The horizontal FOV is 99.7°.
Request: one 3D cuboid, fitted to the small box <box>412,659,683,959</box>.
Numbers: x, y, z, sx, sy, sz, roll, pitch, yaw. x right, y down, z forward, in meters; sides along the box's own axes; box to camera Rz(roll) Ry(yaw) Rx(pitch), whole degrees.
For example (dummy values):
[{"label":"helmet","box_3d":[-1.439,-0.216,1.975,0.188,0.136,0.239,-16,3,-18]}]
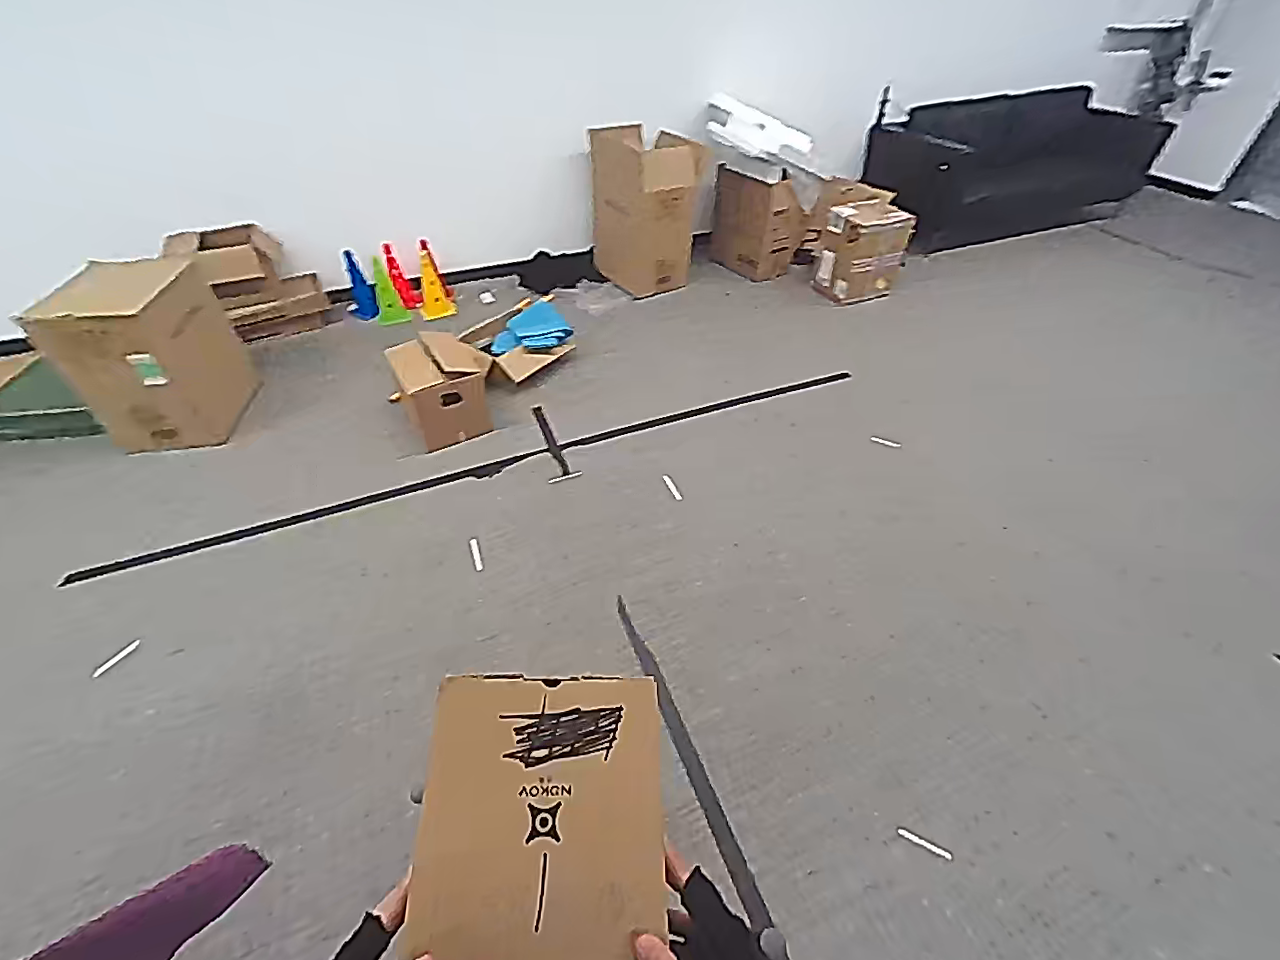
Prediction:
[{"label":"small box","box_3d":[-0.070,0.256,0.434,0.168,0.176,0.179,5,56,-10]}]
